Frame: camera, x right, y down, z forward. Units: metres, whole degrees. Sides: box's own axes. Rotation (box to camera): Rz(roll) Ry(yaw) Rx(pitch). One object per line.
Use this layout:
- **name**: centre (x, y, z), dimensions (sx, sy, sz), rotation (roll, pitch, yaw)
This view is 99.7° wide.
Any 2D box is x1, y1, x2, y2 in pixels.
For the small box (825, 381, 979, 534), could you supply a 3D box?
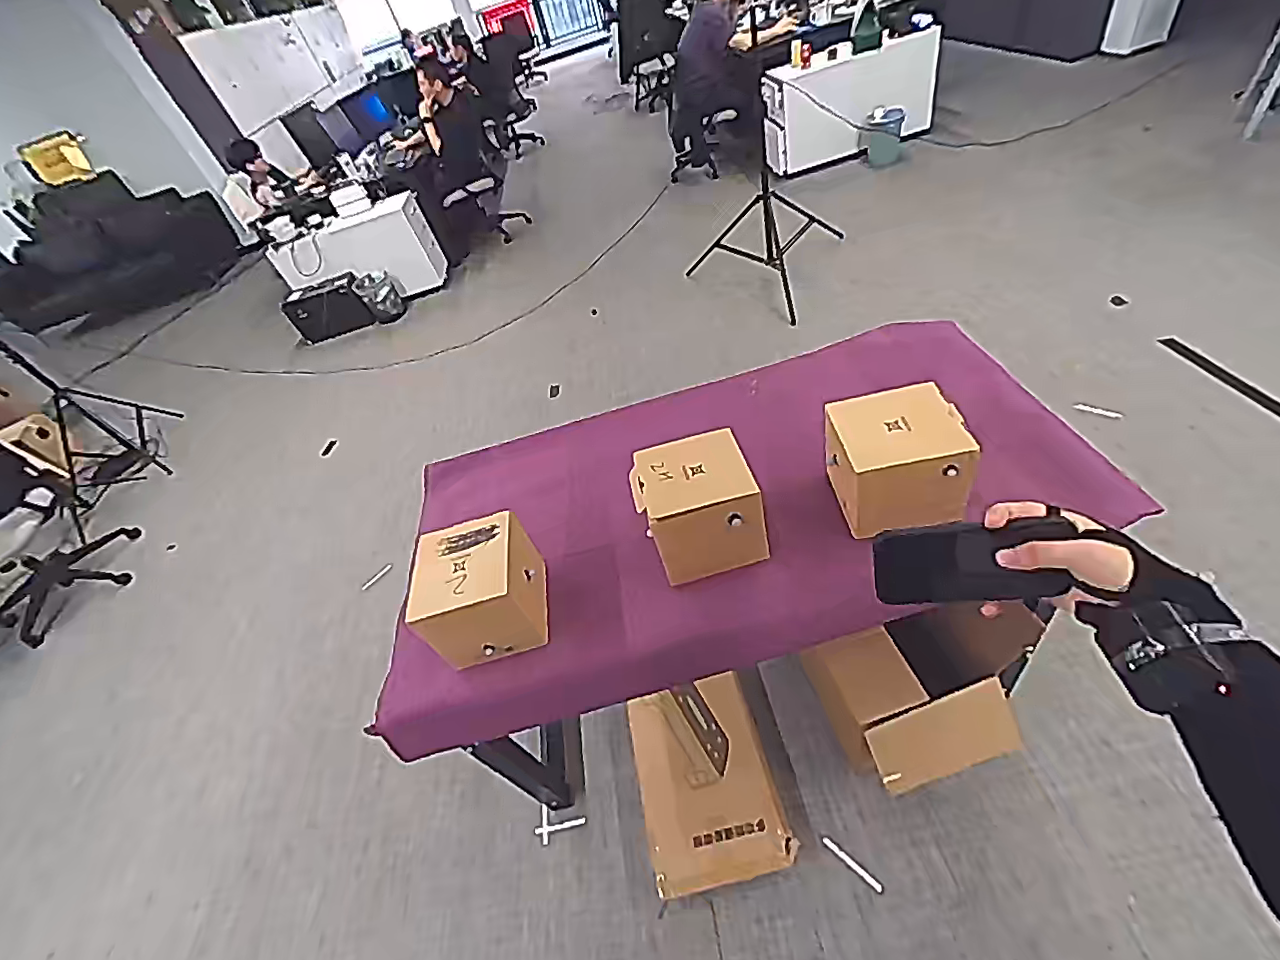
- **small box**: centre (0.414, -0.031, 0.882), dimensions (0.179, 0.176, 0.168), rotation (-12, 45, 8)

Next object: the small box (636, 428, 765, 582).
- **small box**: centre (0.106, 0.044, 0.916), dimensions (0.179, 0.176, 0.168), rotation (-17, 42, 3)
